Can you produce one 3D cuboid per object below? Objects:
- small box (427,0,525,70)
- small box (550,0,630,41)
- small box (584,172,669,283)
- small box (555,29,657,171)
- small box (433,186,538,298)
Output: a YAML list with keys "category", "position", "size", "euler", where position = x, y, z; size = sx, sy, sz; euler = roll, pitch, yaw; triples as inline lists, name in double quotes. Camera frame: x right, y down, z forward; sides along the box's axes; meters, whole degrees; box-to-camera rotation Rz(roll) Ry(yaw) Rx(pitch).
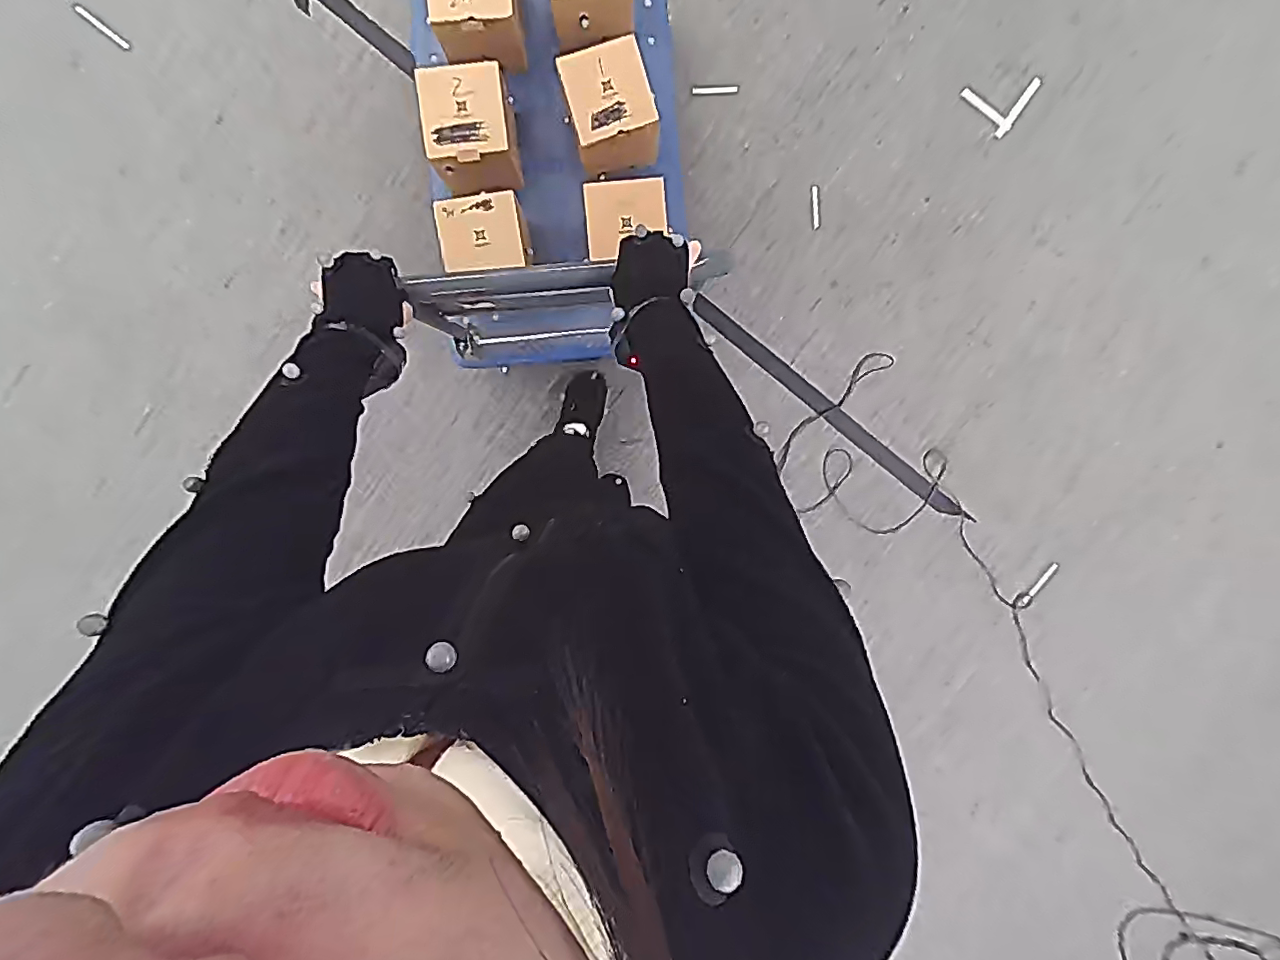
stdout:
- category: "small box"
  position: [-0.339, -0.999, 1.123]
  size: [0.168, 0.176, 0.179]
  euler: [-4, 96, -1]
- category: "small box"
  position: [-0.111, -1.059, 1.126]
  size: [0.168, 0.176, 0.179]
  euler: [-9, 95, -1]
- category: "small box"
  position: [-0.029, -0.538, 1.177]
  size: [0.168, 0.176, 0.179]
  euler: [-5, 95, -2]
- category: "small box"
  position: [-0.068, -0.791, 1.151]
  size: [0.168, 0.176, 0.179]
  euler: [-18, 95, 0]
- category: "small box"
  position: [-0.324, -0.502, 1.170]
  size: [0.168, 0.176, 0.179]
  euler: [-9, 96, -2]
